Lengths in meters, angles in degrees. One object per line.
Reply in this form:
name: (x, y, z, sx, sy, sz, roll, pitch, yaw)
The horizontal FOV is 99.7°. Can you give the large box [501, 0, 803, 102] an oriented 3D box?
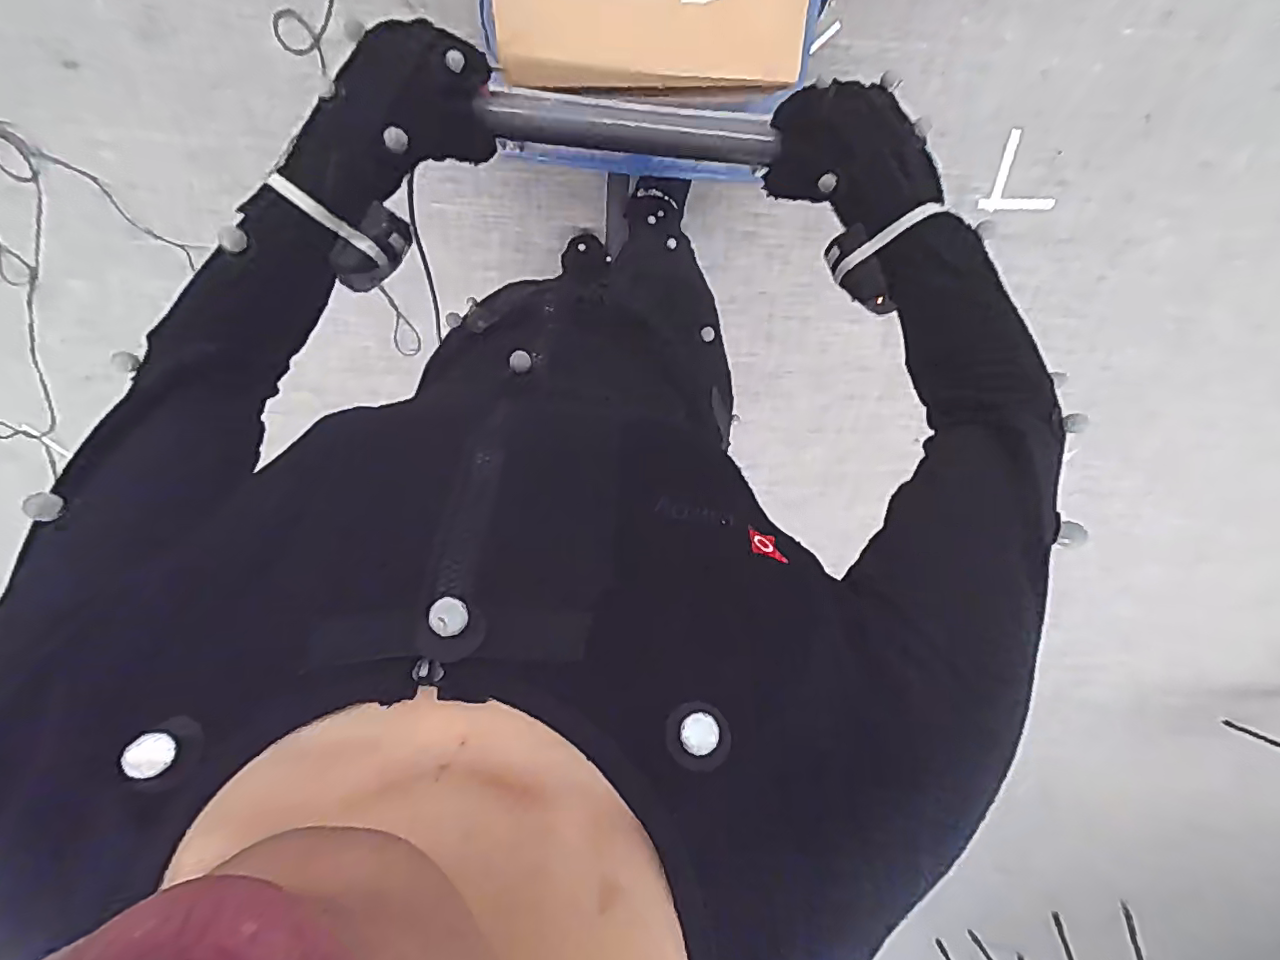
large box: (0.010, -0.761, 0.796, 0.408, 0.320, 0.320, -1, 122, -1)
